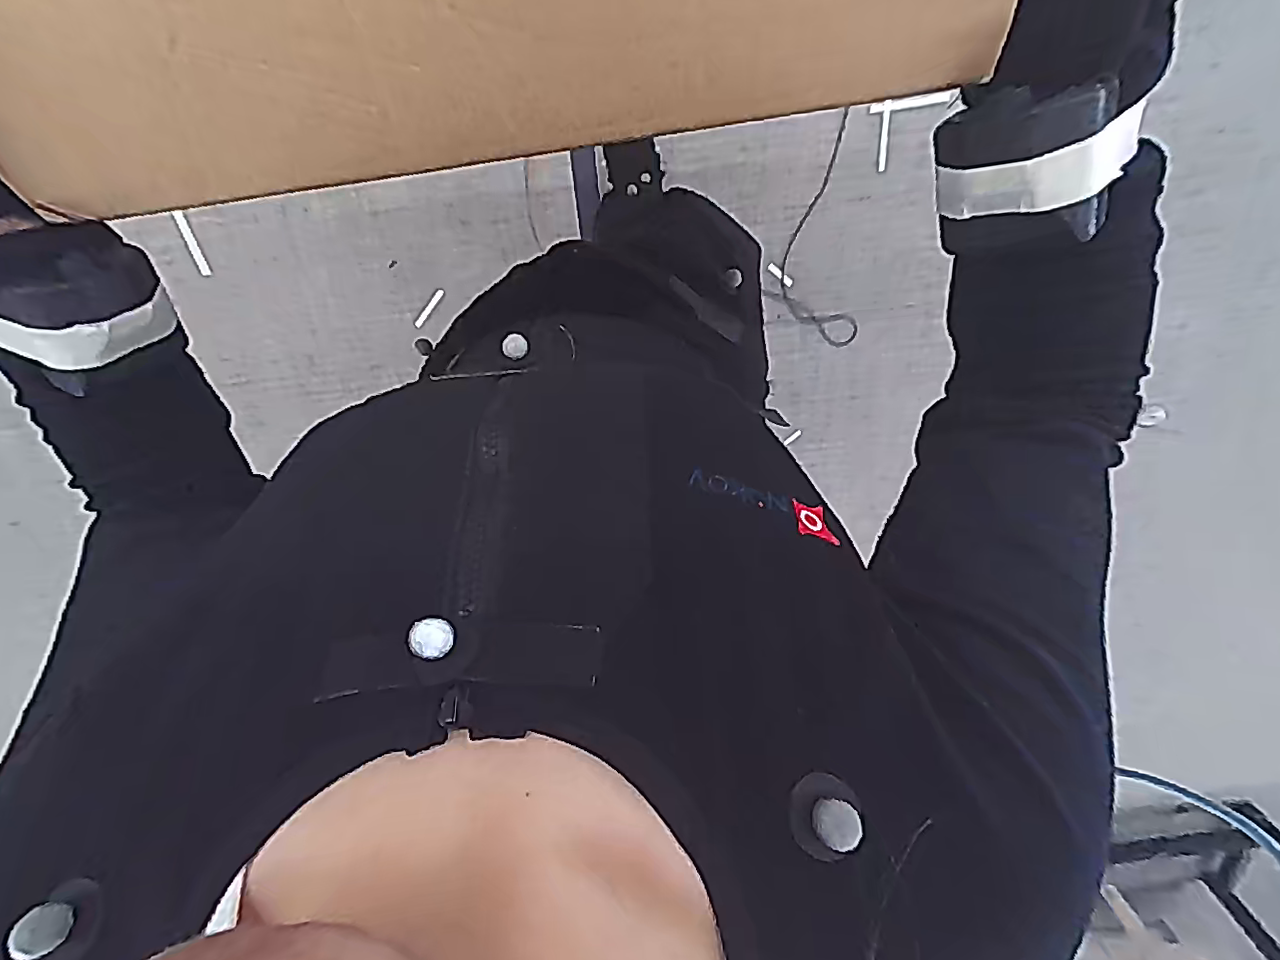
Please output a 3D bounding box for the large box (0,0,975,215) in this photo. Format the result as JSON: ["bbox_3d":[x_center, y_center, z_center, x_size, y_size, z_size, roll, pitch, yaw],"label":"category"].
[{"bbox_3d":[-0.089,-0.357,0.215,0.408,0.320,0.320,-7,139,3],"label":"large box"}]
